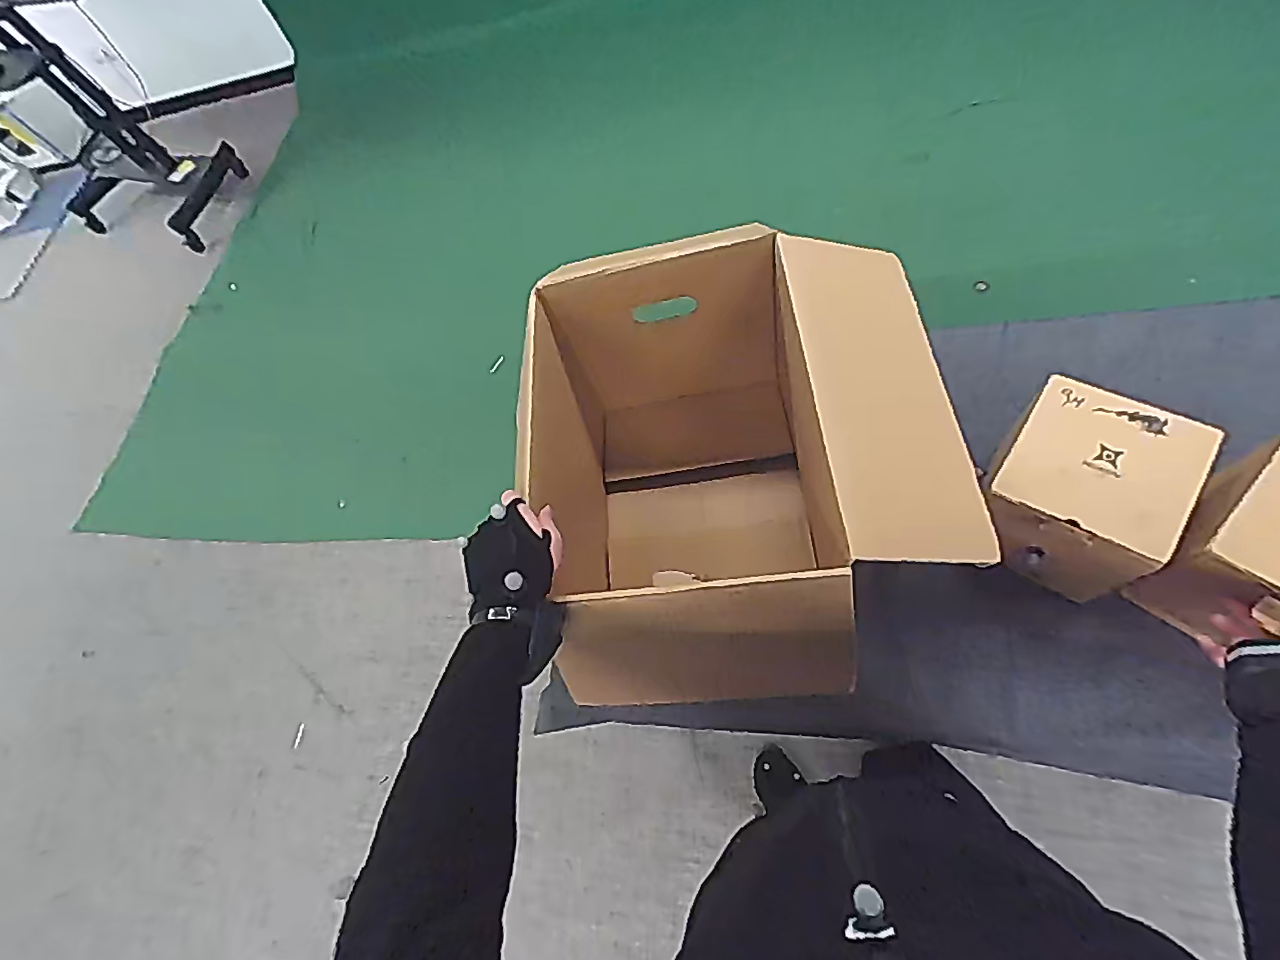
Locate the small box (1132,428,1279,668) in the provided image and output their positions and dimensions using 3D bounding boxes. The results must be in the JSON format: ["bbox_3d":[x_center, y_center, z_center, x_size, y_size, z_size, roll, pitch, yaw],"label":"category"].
[{"bbox_3d":[0.687,0.078,0.575,0.168,0.176,0.179,38,79,26],"label":"small box"}]
